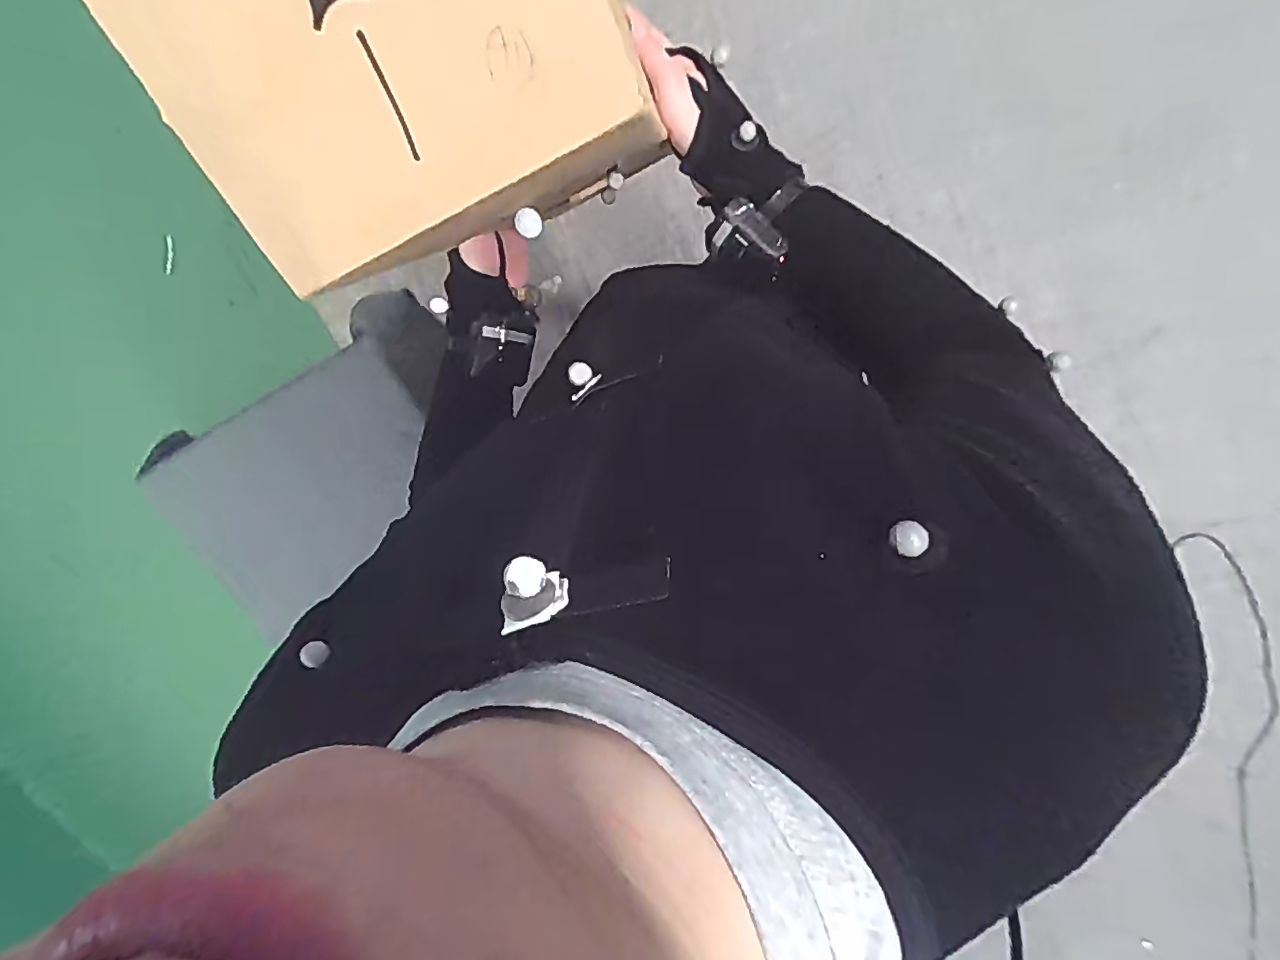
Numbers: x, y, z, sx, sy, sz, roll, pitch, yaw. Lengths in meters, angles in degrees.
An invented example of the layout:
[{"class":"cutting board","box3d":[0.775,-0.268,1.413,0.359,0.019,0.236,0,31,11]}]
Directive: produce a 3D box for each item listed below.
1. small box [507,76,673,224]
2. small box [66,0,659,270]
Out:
[{"class":"small box","box3d":[-0.074,-0.370,0.509,0.168,0.176,0.179,-20,115,16]},{"class":"small box","box3d":[-0.098,-0.212,0.223,0.168,0.176,0.179,-19,116,14]}]
